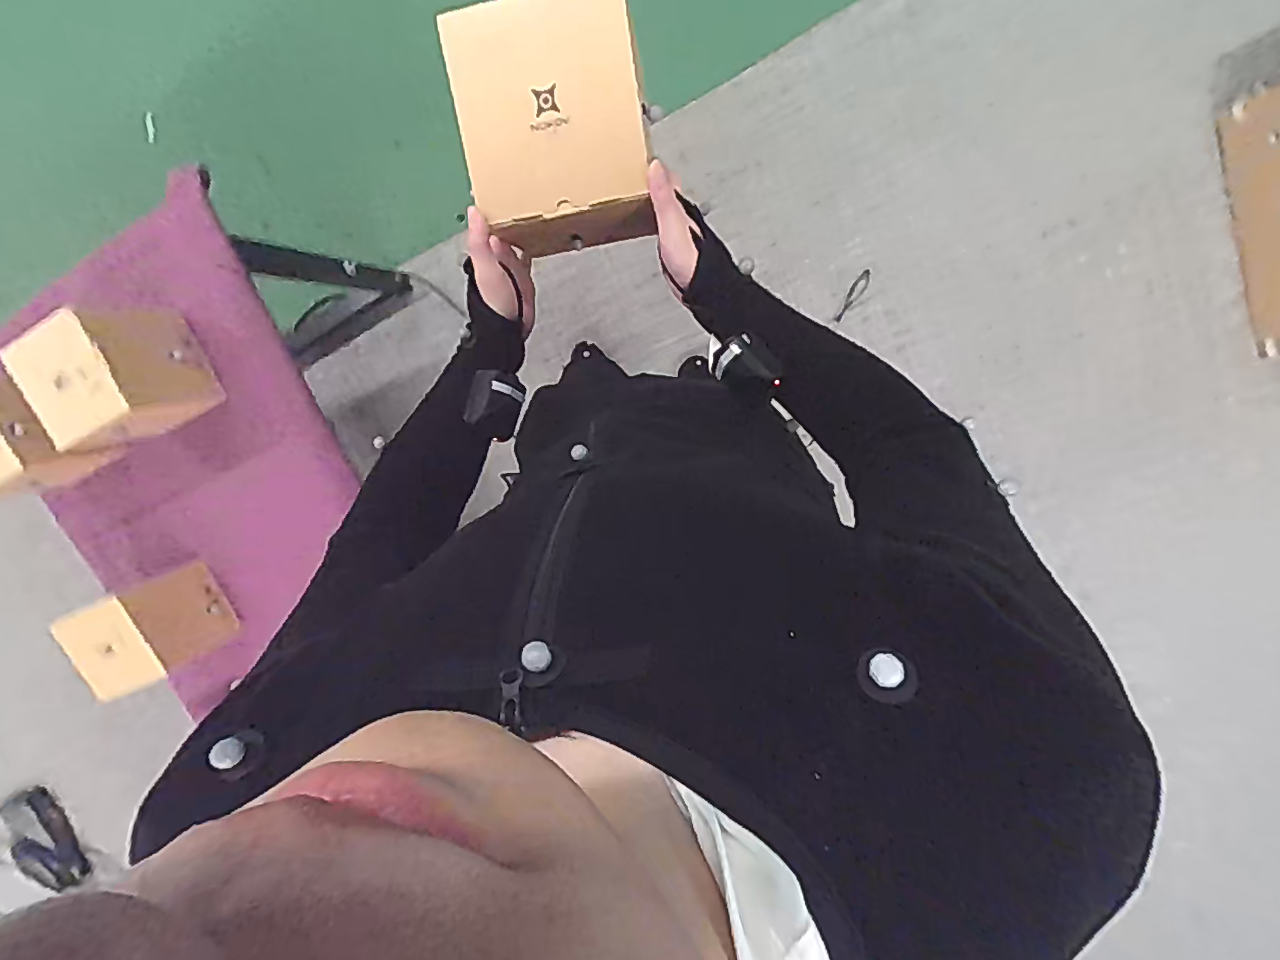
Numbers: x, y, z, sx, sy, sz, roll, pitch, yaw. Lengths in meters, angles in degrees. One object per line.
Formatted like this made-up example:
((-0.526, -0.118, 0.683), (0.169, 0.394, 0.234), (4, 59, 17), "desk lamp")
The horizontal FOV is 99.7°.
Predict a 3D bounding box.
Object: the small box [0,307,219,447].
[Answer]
((-0.866, -0.172, 0.898), (0.179, 0.176, 0.168), (-21, 101, 14), "small box")

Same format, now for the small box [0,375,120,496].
((-1.103, -0.078, 0.960), (0.179, 0.176, 0.168), (-23, 100, 13), "small box")

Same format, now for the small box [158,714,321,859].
((-0.777, 0.600, 1.076), (0.179, 0.176, 0.168), (-24, 98, 14), "small box")

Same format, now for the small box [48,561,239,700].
((-0.923, 0.277, 1.022), (0.179, 0.176, 0.168), (-22, 100, 12), "small box")
